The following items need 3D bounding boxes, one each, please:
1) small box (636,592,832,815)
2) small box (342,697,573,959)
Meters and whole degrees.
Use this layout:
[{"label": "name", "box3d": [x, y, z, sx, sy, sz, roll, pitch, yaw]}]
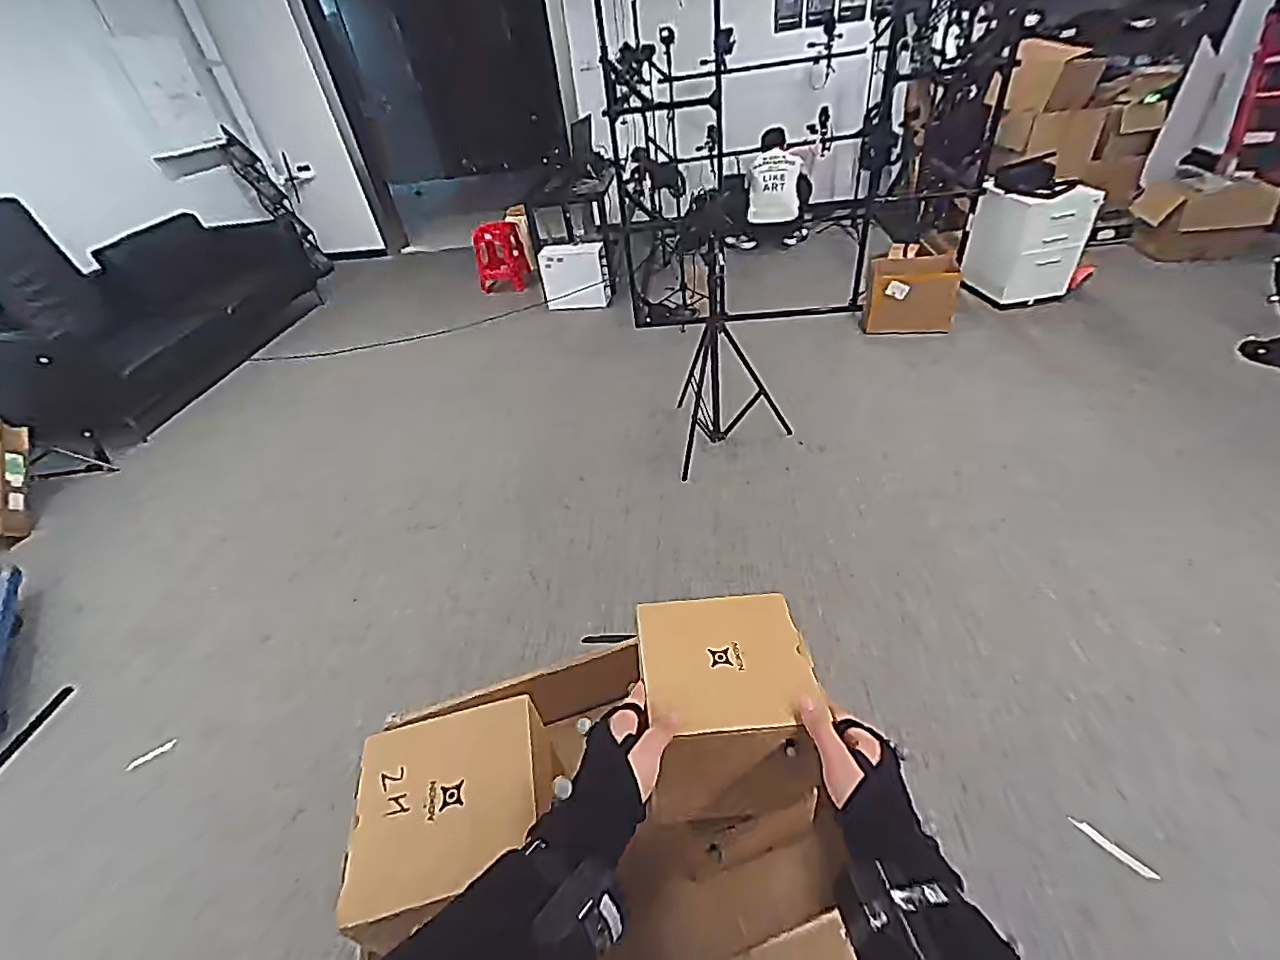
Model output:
[{"label": "small box", "box3d": [0.090, 0.248, 0.604, 0.179, 0.176, 0.168, -3, 33, -4]}, {"label": "small box", "box3d": [-0.171, 0.362, 0.566, 0.179, 0.176, 0.168, -13, 40, -5]}]
